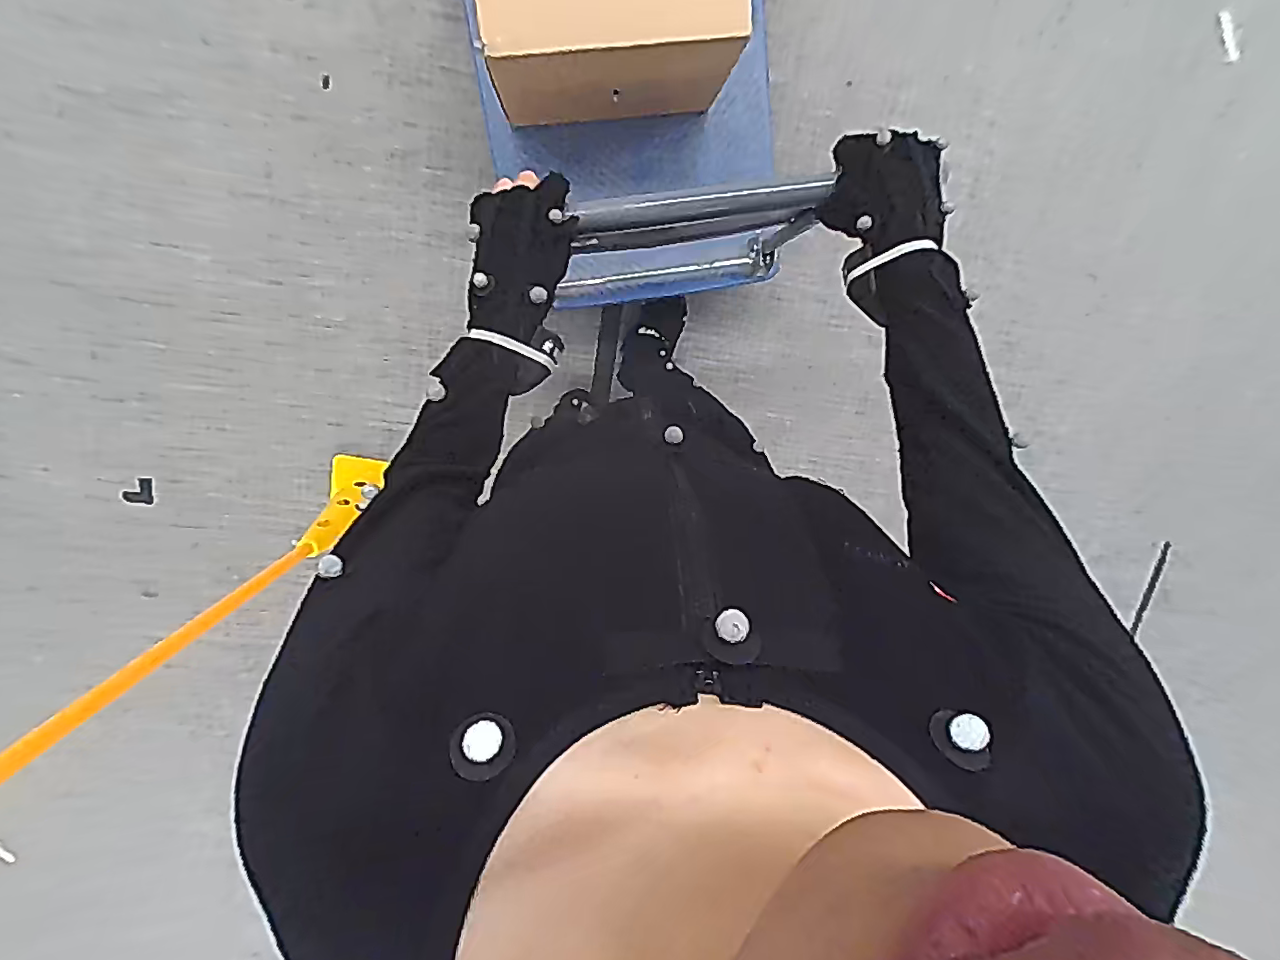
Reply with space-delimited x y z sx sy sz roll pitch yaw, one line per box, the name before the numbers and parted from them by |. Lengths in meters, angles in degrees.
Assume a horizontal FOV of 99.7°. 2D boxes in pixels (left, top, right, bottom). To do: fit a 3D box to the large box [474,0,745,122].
large box | -0.063 -0.842 0.911 0.408 0.320 0.320 -7 107 -3
